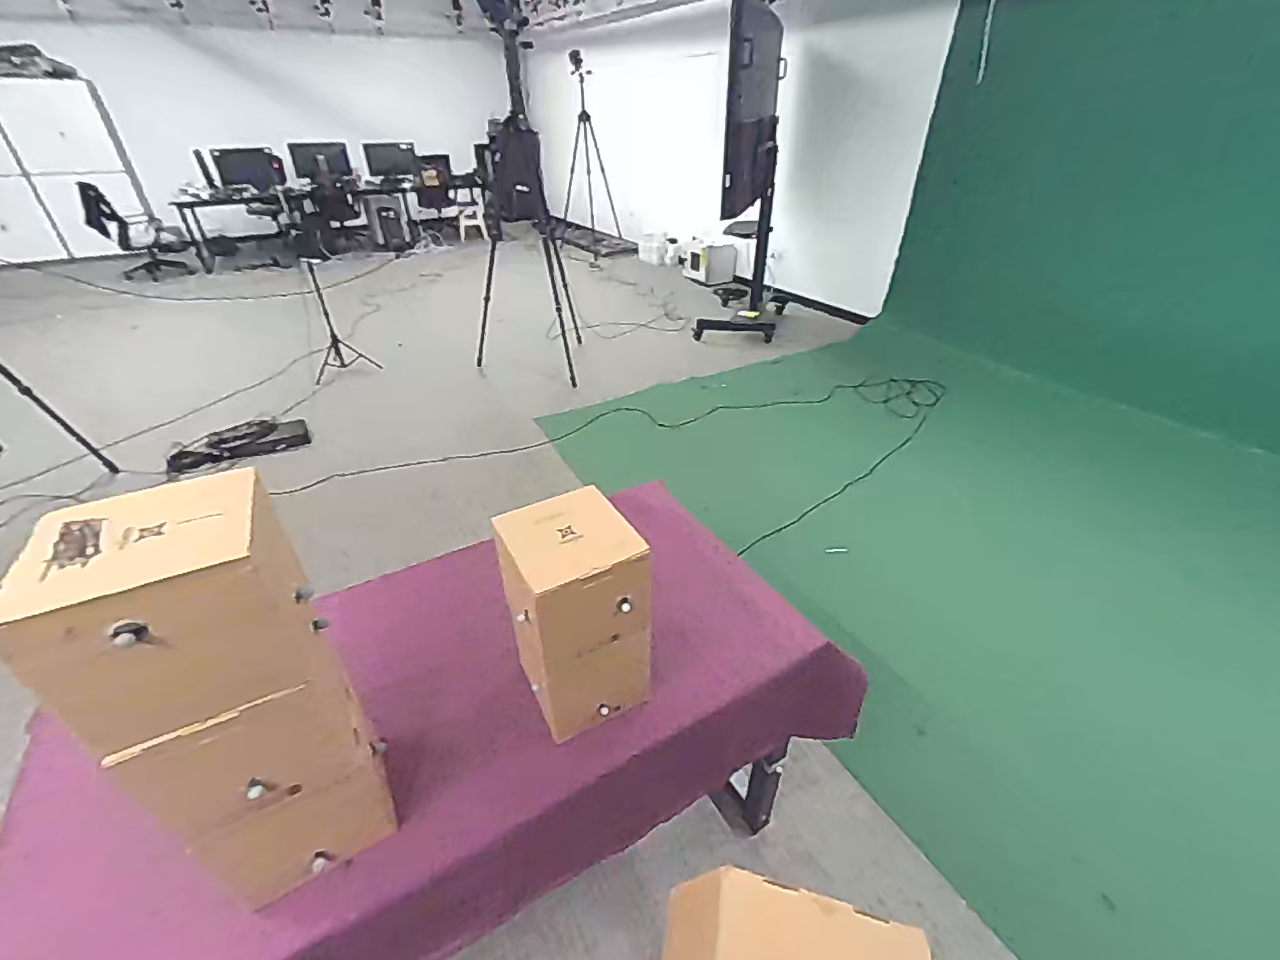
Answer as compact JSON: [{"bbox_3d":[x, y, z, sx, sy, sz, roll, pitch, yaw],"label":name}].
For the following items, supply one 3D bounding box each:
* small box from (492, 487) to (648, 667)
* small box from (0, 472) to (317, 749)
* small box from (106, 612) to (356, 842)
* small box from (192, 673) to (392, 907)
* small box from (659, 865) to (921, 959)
[{"bbox_3d":[-0.098,0.142,0.783,0.168,0.176,0.179,-18,38,-25],"label":"small box"},{"bbox_3d":[-0.442,0.120,0.527,0.179,0.176,0.168,-17,37,-24],"label":"small box"},{"bbox_3d":[-0.444,0.258,0.617,0.168,0.176,0.179,-19,39,-24],"label":"small box"},{"bbox_3d":[-0.441,0.397,0.706,0.179,0.176,0.168,-19,38,-26],"label":"small box"},{"bbox_3d":[0.104,0.437,0.421,0.168,0.176,0.179,17,45,0],"label":"small box"}]
